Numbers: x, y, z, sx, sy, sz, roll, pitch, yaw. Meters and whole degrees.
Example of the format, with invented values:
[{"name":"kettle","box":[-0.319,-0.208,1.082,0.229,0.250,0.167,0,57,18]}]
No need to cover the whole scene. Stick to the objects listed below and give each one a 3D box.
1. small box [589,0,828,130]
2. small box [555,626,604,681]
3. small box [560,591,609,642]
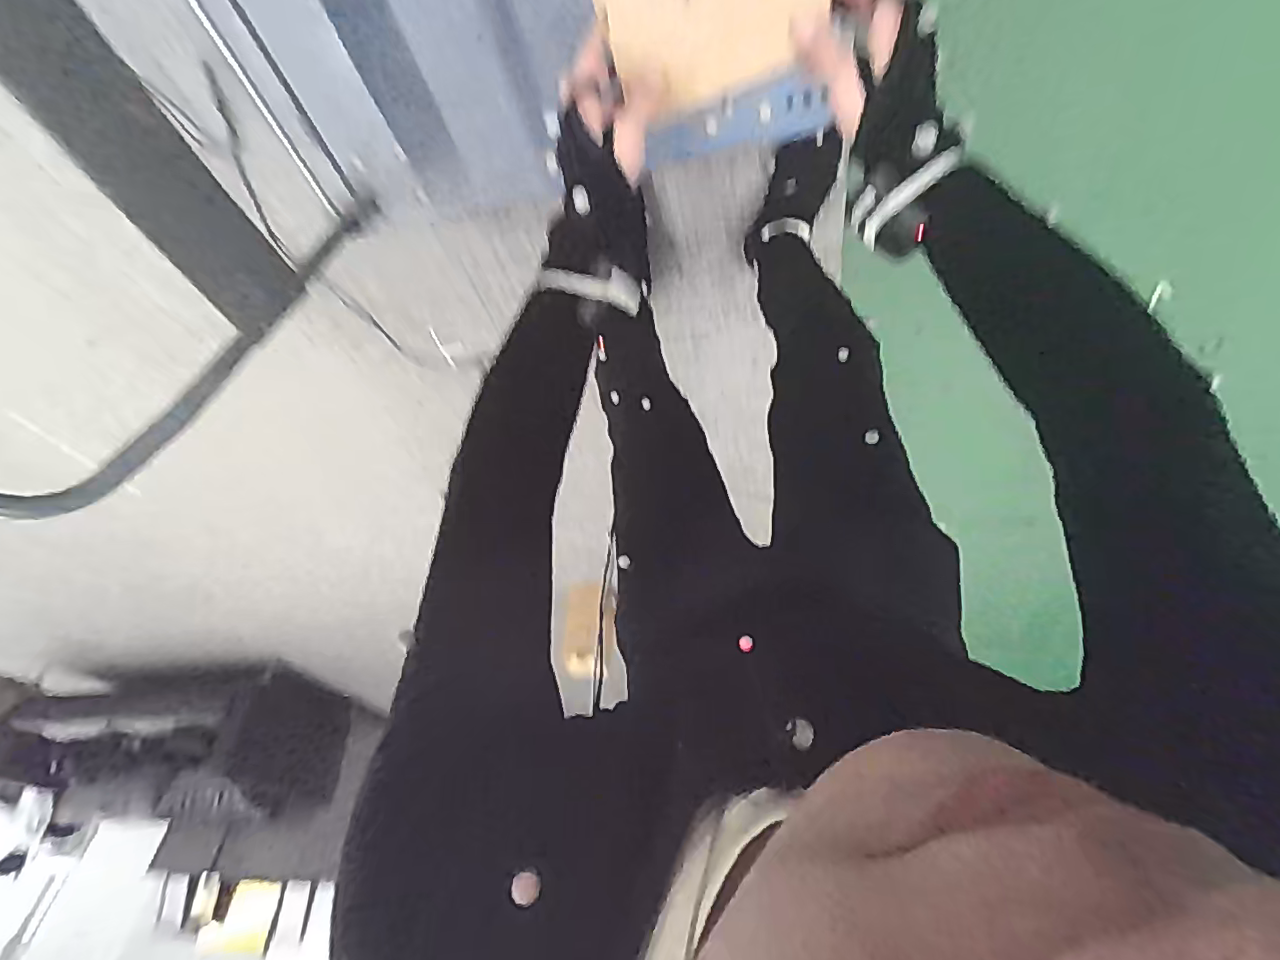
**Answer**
[{"name":"small box","box":[0.061,-0.430,0.472,0.179,0.176,0.168,-9,123,21]},{"name":"small box","box":[-0.249,0.734,2.284,0.168,0.176,0.179,-2,140,7]},{"name":"small box","box":[-0.241,0.600,2.382,0.168,0.176,0.179,-4,139,11]}]
